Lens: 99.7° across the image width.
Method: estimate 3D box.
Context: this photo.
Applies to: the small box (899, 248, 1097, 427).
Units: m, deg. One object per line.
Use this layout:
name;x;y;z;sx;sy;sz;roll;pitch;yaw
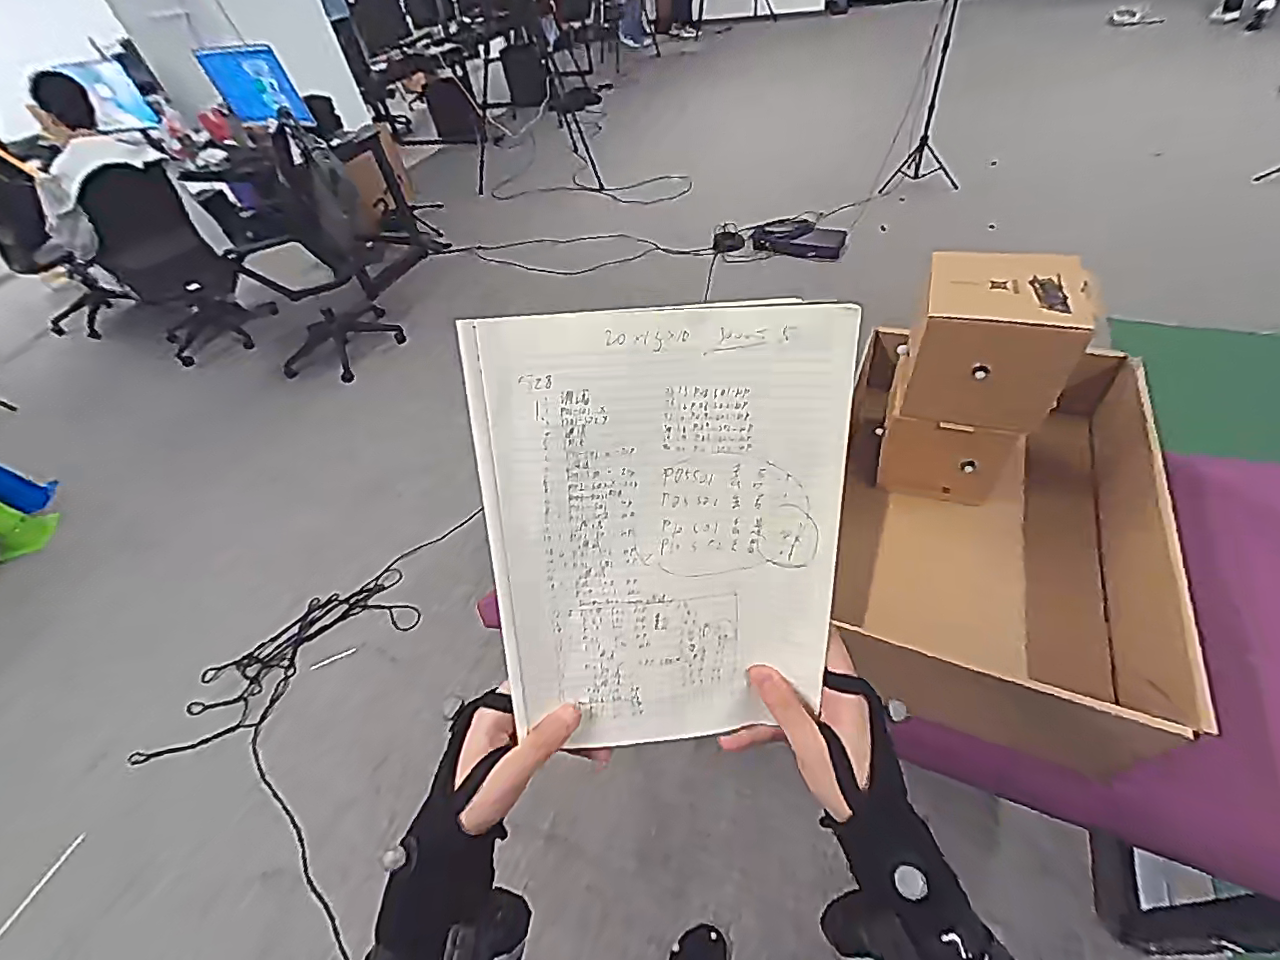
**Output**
small box;0.474;-0.193;0.740;0.179;0.176;0.168;12;52;19
